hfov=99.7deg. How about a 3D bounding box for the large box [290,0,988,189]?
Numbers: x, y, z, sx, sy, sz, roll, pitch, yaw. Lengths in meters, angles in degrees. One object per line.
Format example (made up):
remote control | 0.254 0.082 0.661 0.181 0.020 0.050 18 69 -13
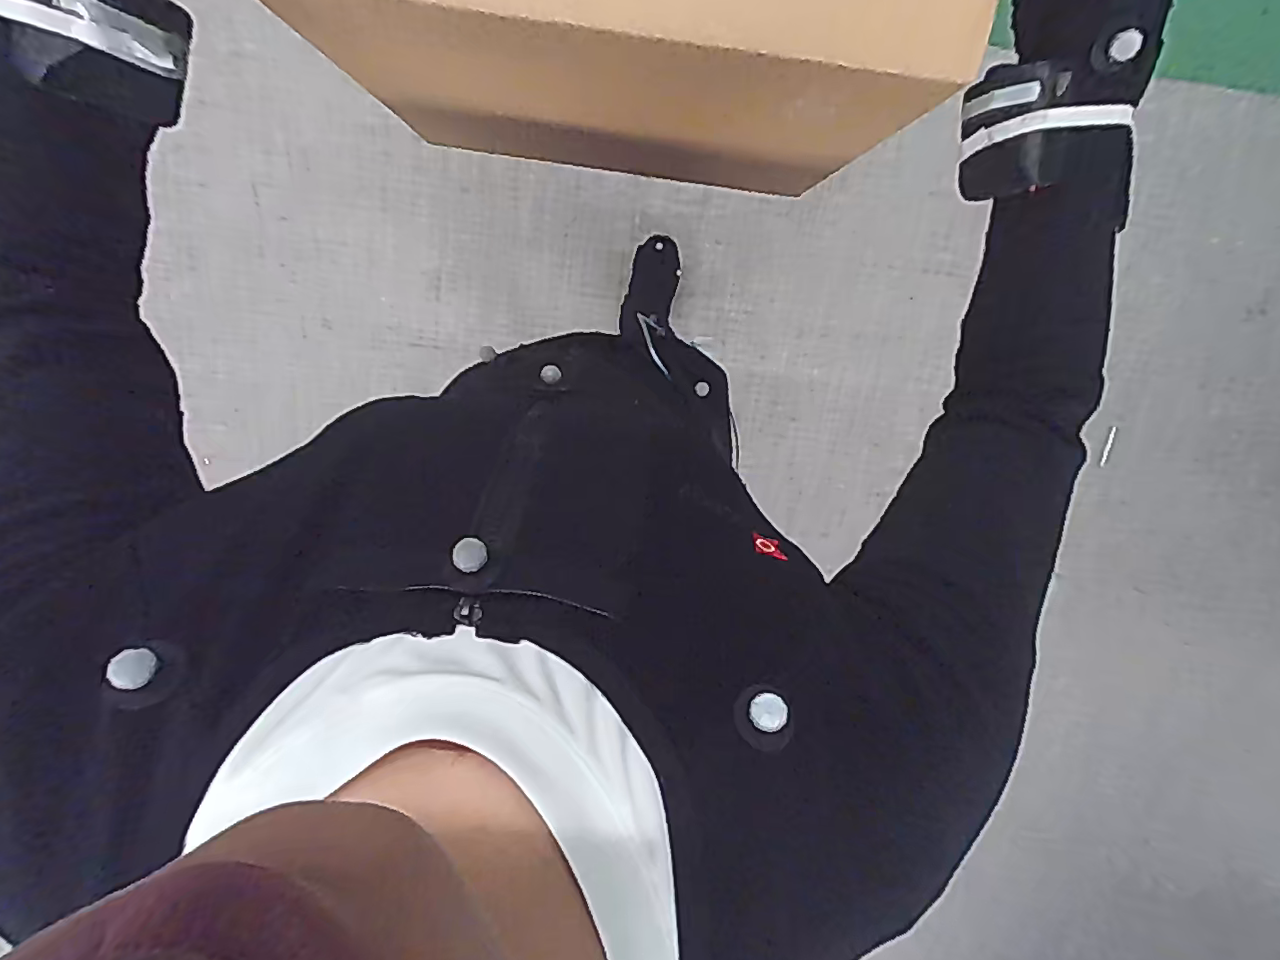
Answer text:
large box | 0.003 -0.436 0.401 0.408 0.320 0.320 5 107 -3
